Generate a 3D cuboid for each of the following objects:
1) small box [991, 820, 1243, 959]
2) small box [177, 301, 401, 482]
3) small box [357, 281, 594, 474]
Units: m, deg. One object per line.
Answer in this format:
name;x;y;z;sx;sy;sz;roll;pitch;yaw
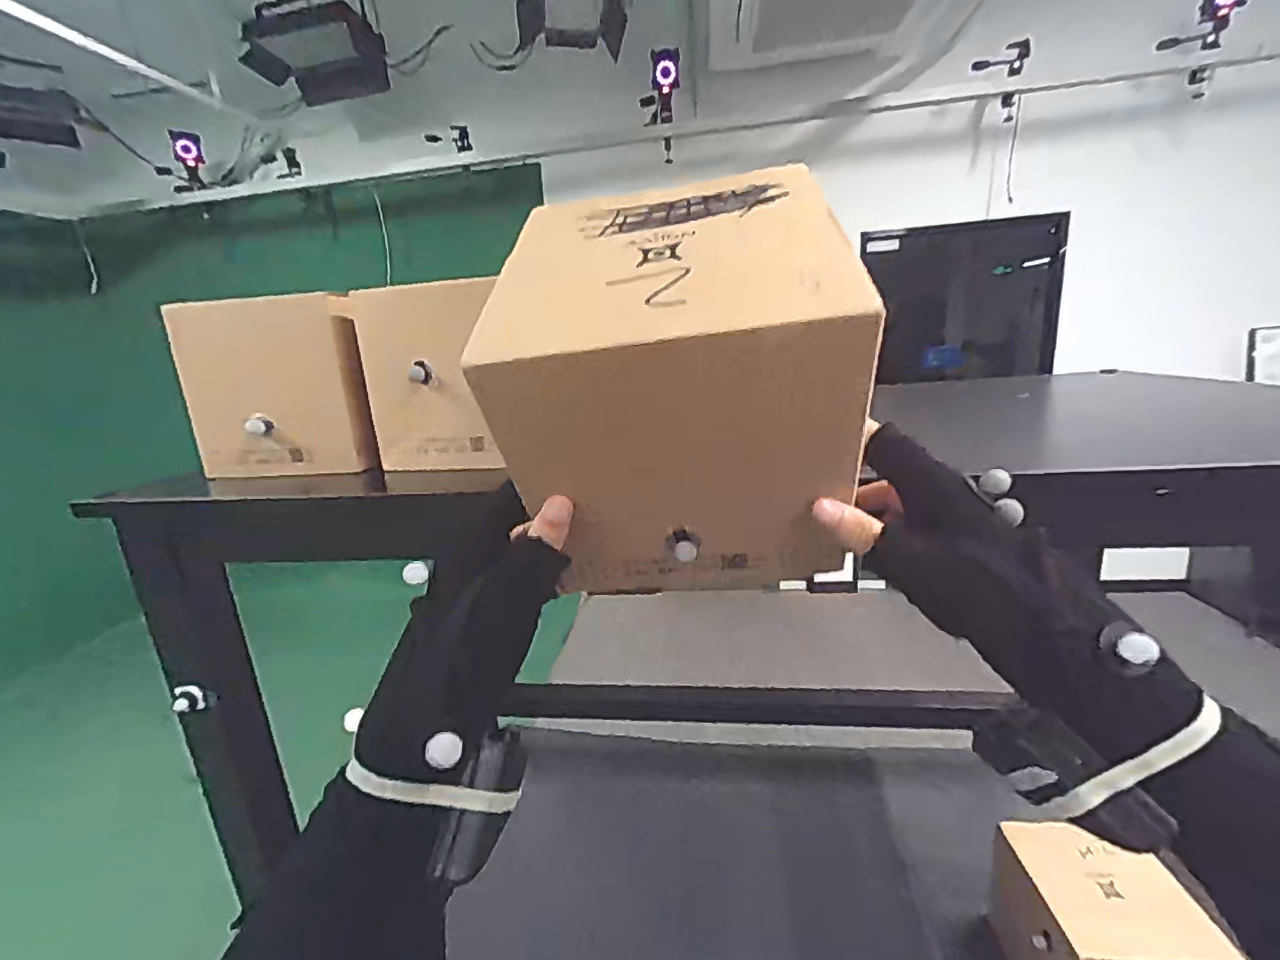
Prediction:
small box;0.569;0.566;0.673;0.168;0.176;0.179;-2;13;7
small box;-0.339;-0.099;0.592;0.168;0.176;0.179;-2;15;7
small box;-0.151;-0.103;0.563;0.168;0.176;0.179;-1;14;12
